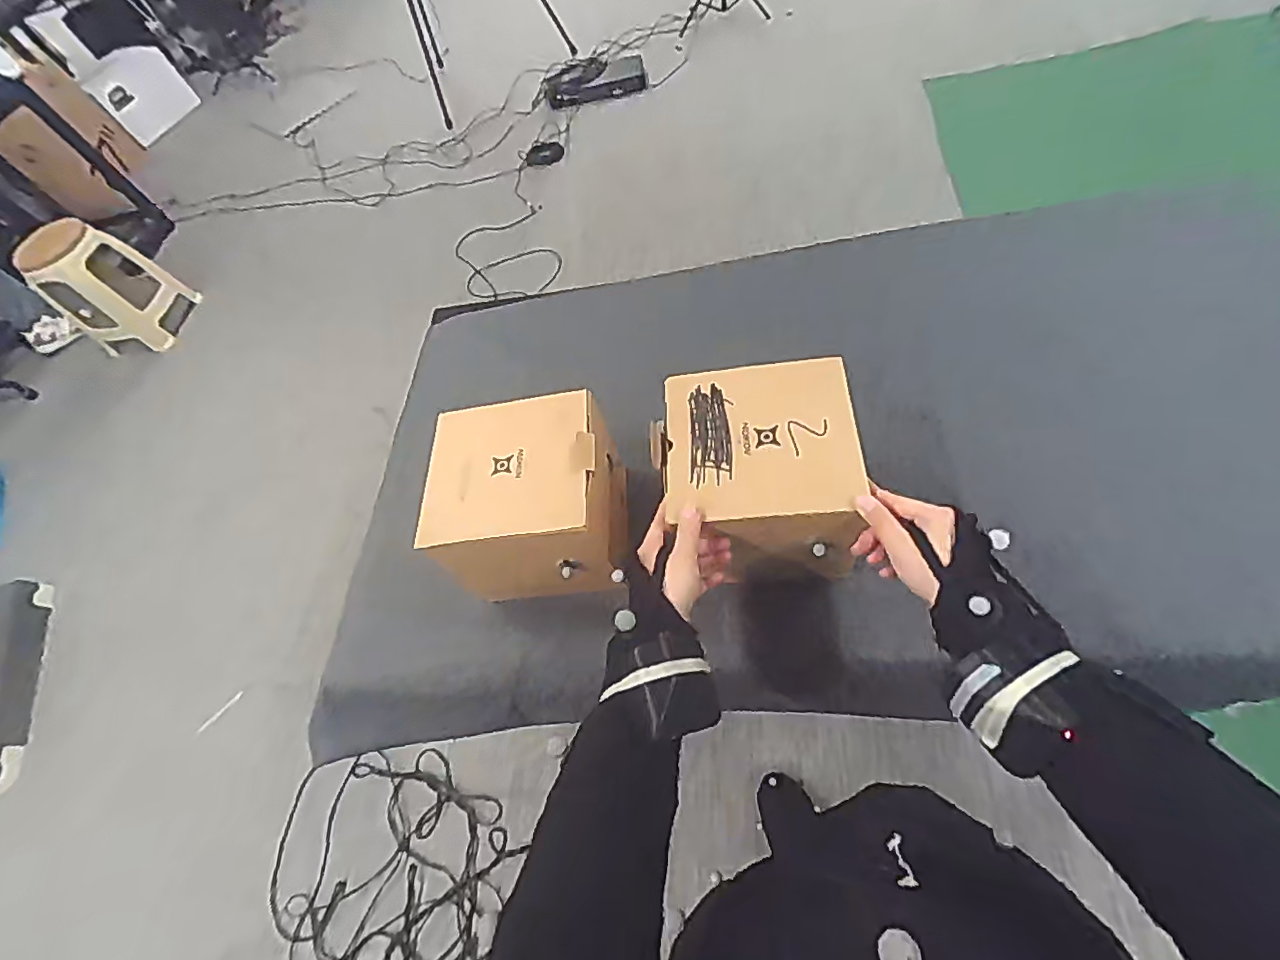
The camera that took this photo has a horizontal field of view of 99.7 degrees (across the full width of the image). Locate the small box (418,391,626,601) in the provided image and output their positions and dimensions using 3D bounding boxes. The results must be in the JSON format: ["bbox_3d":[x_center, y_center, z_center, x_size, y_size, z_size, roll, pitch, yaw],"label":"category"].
[{"bbox_3d":[-0.115,0.027,0.609,0.179,0.176,0.168,-9,58,9],"label":"small box"}]
